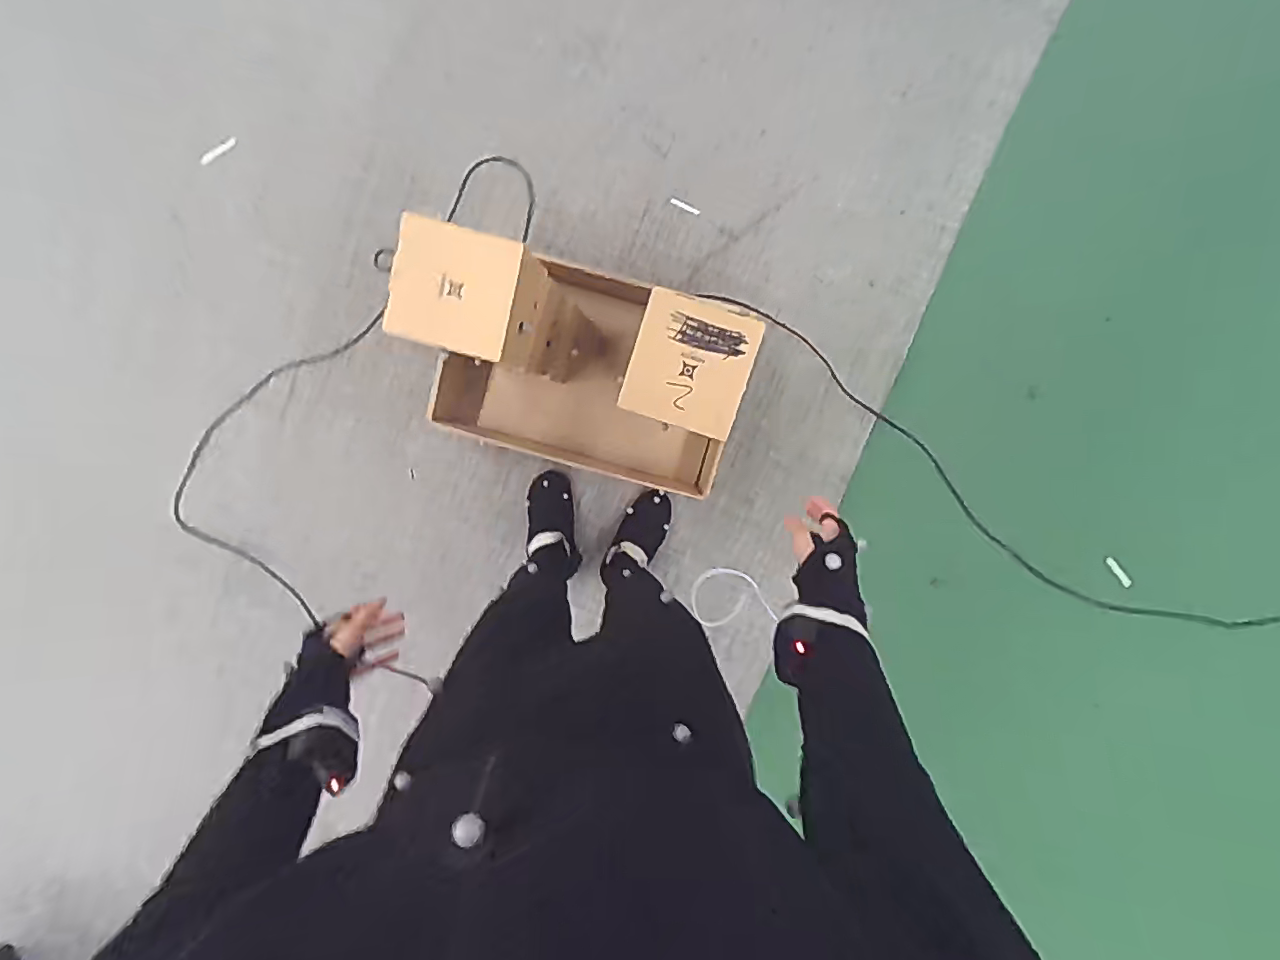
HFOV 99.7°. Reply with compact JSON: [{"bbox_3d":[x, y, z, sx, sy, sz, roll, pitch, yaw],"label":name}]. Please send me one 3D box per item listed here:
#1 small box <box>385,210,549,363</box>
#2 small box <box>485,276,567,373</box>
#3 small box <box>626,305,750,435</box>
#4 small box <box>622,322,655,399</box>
[{"bbox_3d":[-0.251,-0.281,0.826,0.179,0.176,0.168,15,98,0],"label":"small box"},{"bbox_3d":[-0.249,-0.301,0.987,0.179,0.176,0.168,20,98,-2],"label":"small box"},{"bbox_3d":[0.084,-0.193,0.991,0.168,0.176,0.179,20,96,-2],"label":"small box"},{"bbox_3d":[0.073,-0.217,1.154,0.179,0.176,0.168,20,97,-1],"label":"small box"}]
